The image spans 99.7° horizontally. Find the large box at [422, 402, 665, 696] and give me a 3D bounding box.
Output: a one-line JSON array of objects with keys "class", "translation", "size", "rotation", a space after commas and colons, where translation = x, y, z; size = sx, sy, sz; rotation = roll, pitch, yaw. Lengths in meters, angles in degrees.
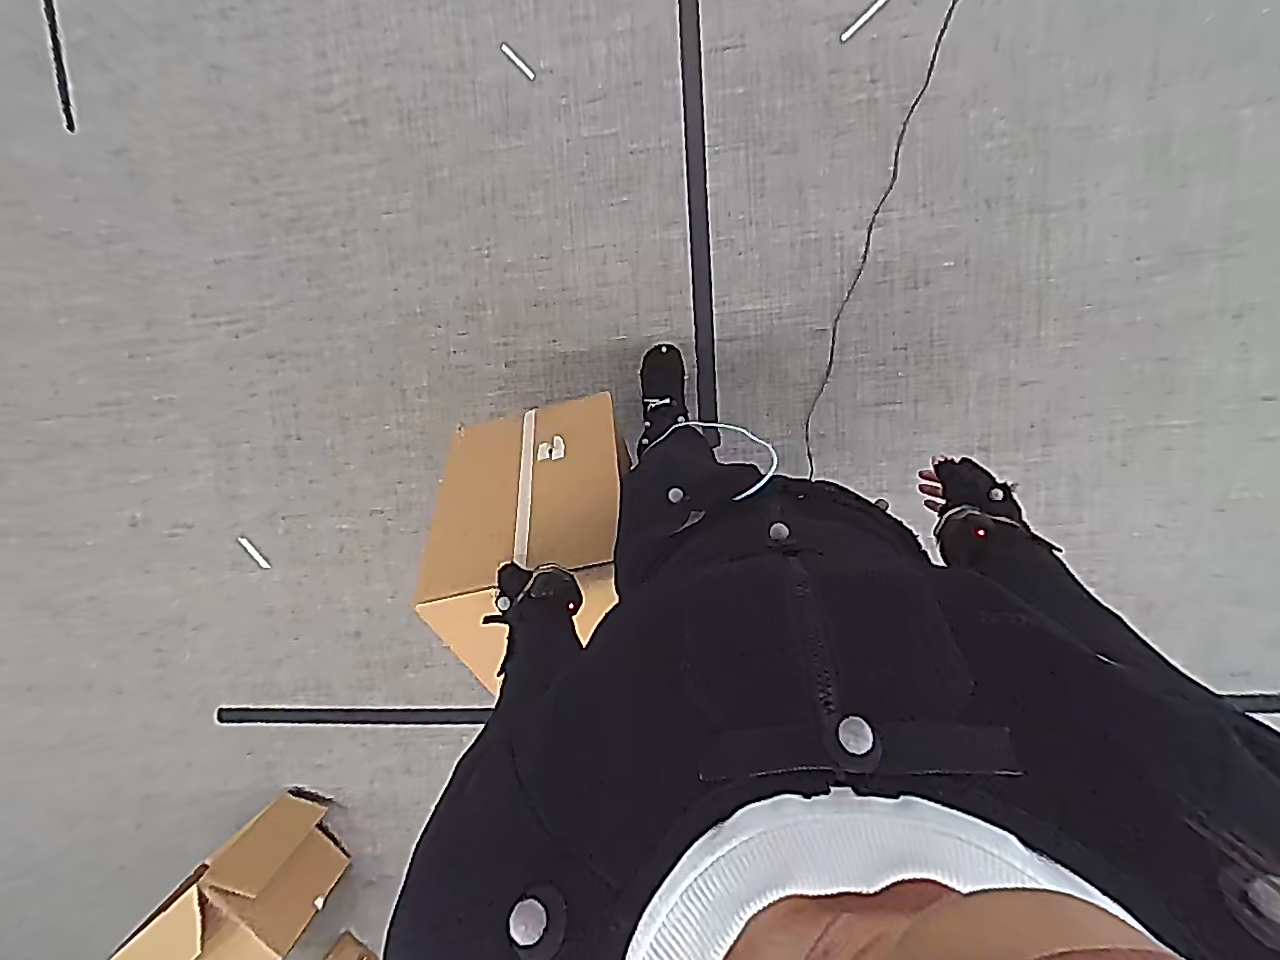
[{"class": "large box", "translation": [-0.155, 0.121, 1.009], "size": [0.320, 0.408, 0.320], "rotation": [-13, 132, 4]}]
